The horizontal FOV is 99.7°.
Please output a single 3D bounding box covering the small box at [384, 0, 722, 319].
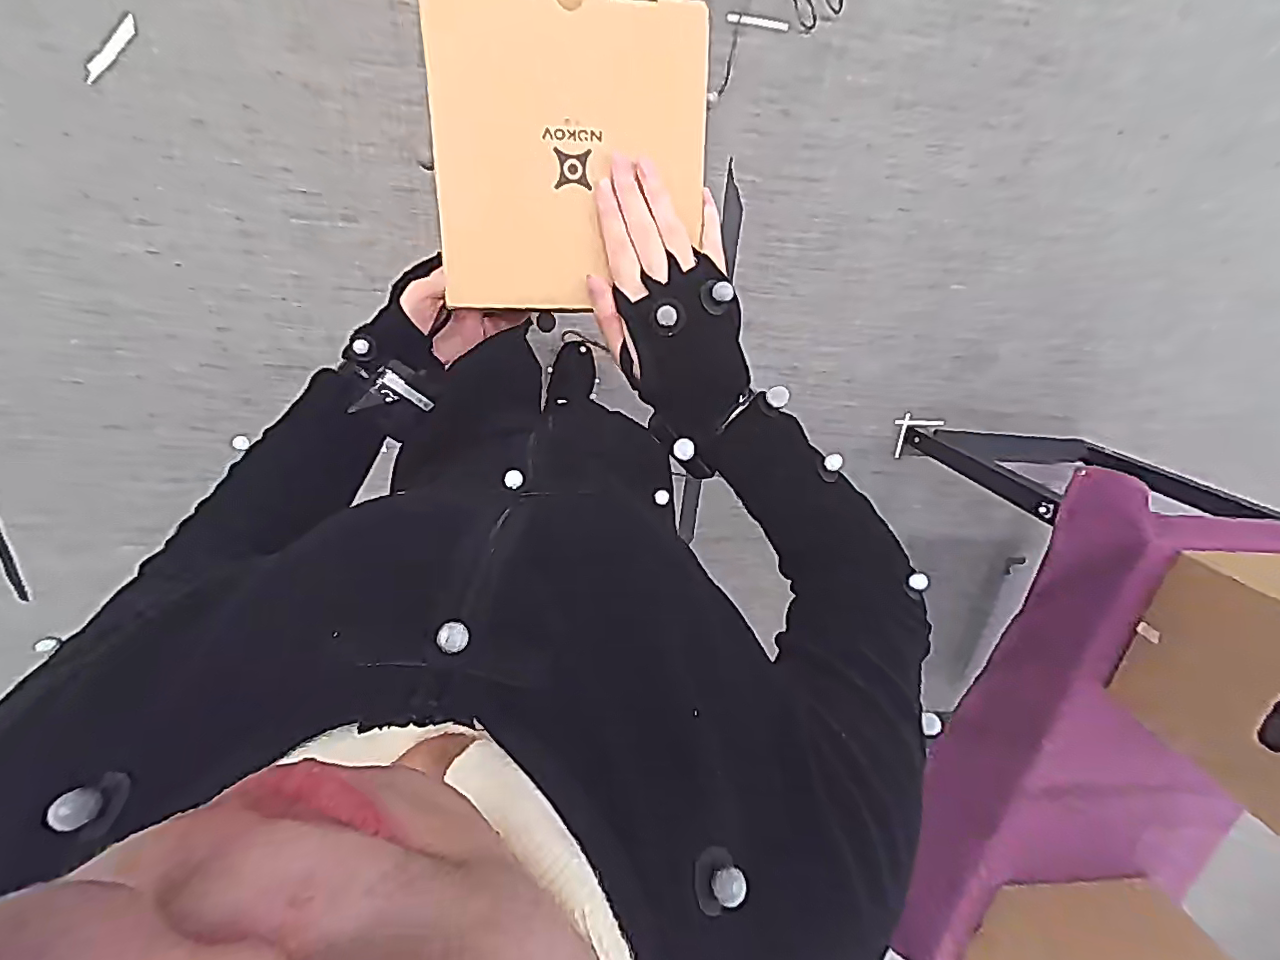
[{"bbox_3d":[-0.040,-0.224,0.364,0.179,0.176,0.168,-3,87,11],"label":"small box"}]
